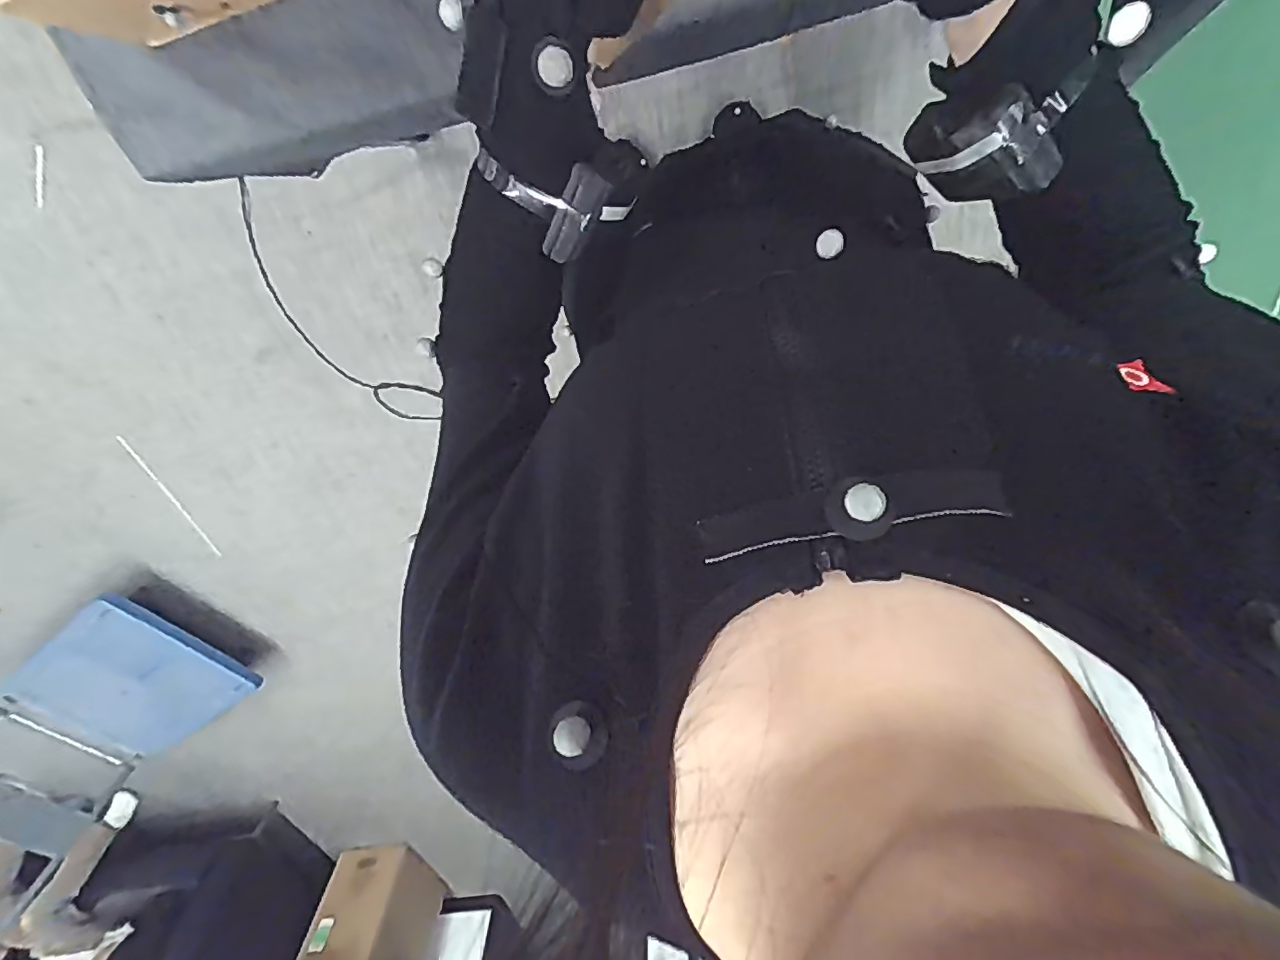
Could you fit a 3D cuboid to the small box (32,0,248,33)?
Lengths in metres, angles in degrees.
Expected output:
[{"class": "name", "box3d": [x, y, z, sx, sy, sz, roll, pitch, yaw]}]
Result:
[{"class": "small box", "box3d": [-0.427, -0.477, 0.404, 0.168, 0.176, 0.179, -12, 122, 8]}]
